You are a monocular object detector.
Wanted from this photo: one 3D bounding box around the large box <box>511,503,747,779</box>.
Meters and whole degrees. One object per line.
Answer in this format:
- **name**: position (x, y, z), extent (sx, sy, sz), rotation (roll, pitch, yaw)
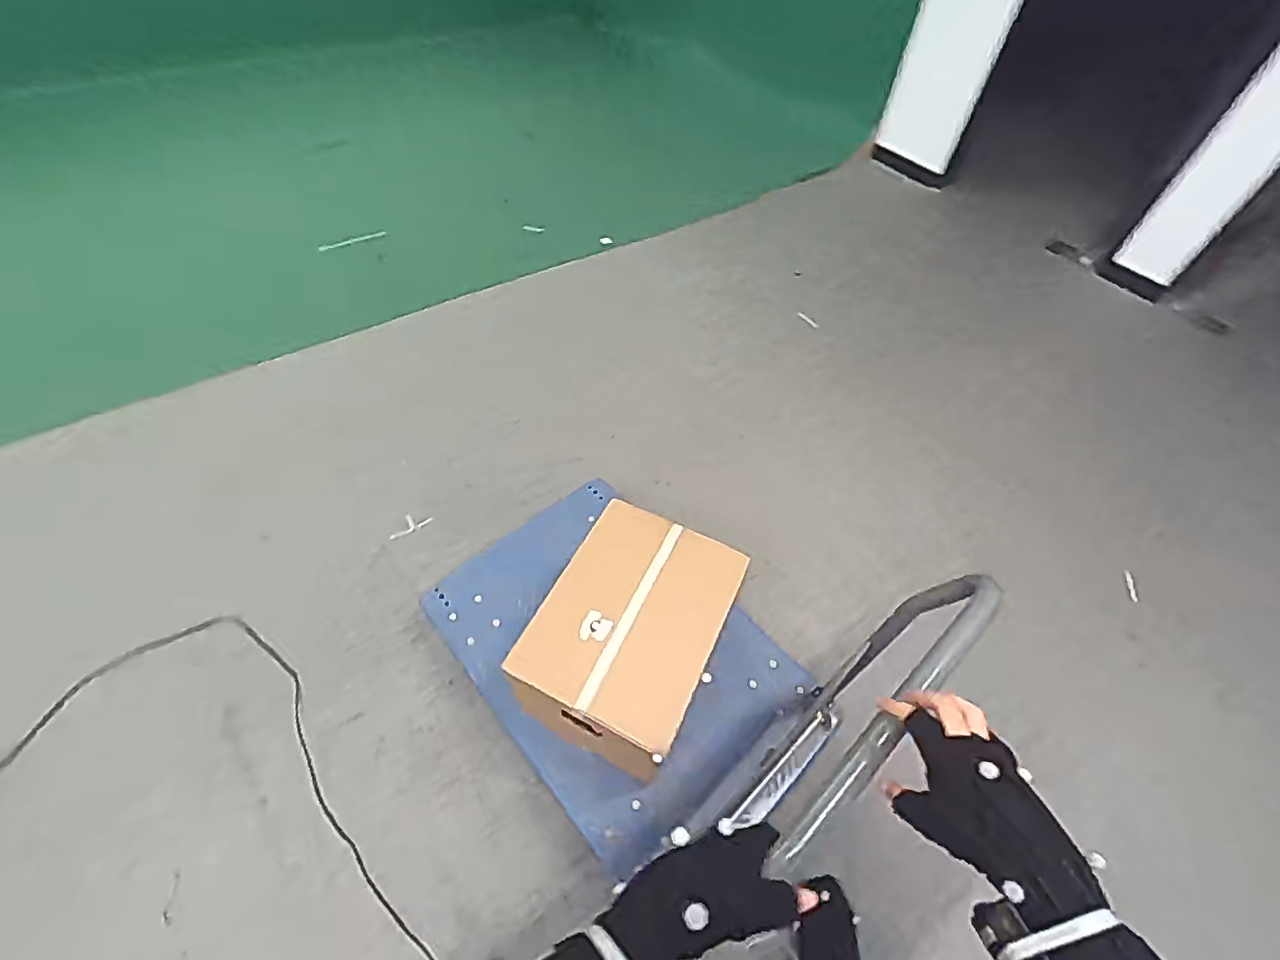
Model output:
- **large box**: position (-0.010, 0.330, 1.124), extent (0.320, 0.320, 0.408), rotation (22, 56, 14)
